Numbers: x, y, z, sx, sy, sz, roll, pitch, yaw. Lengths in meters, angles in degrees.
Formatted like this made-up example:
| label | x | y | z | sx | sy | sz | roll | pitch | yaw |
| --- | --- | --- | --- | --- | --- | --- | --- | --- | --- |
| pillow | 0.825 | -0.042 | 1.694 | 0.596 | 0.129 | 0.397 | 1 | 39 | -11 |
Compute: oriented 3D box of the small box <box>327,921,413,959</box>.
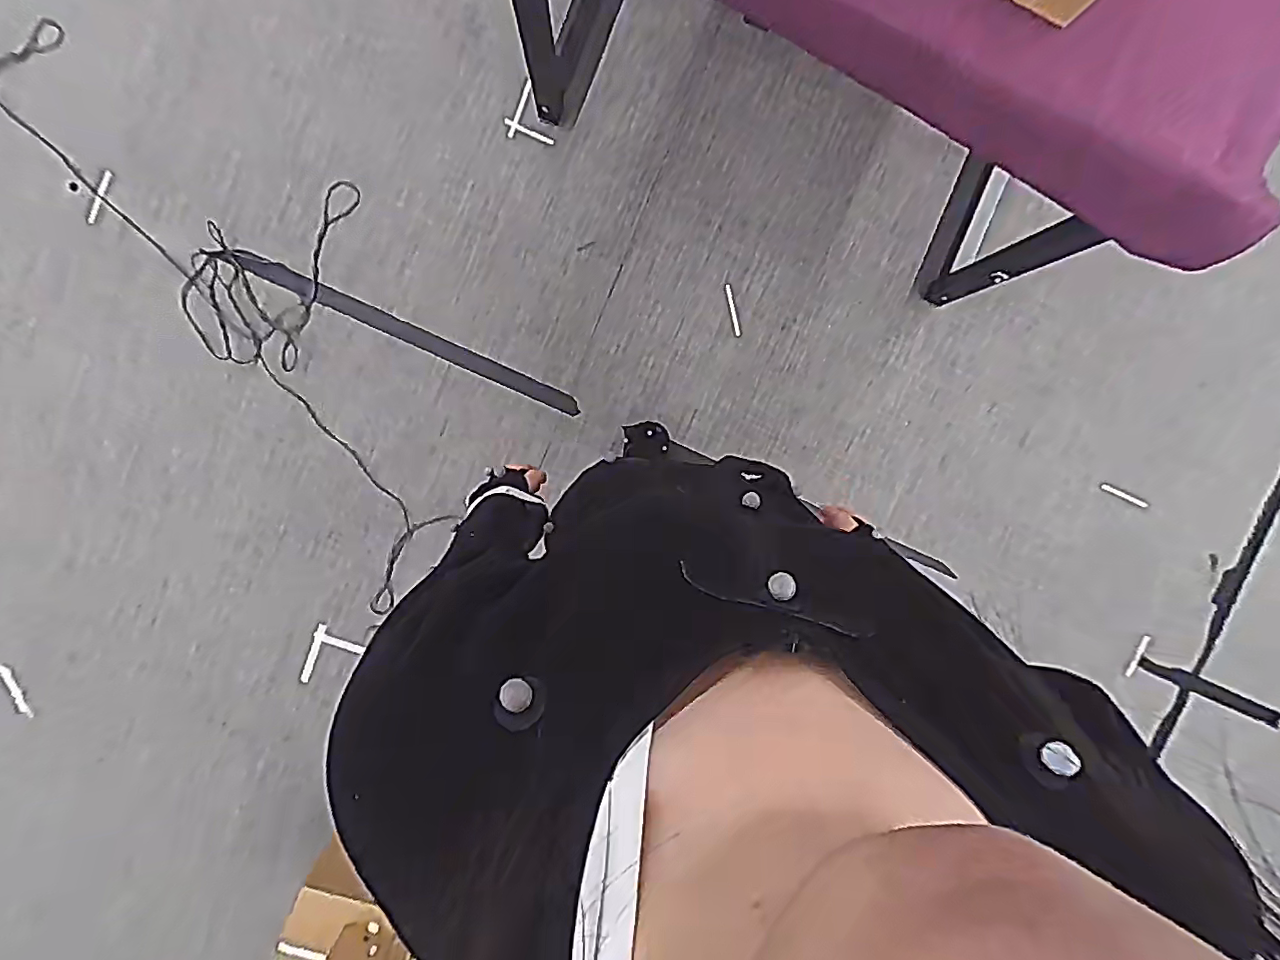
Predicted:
| label | x | y | z | sx | sy | sz | roll | pitch | yaw |
| --- | --- | --- | --- | --- | --- | --- | --- | --- | --- |
| small box | -0.623 | 1.131 | 1.182 | 0.168 | 0.176 | 0.179 | 20 | 93 | -5 |
